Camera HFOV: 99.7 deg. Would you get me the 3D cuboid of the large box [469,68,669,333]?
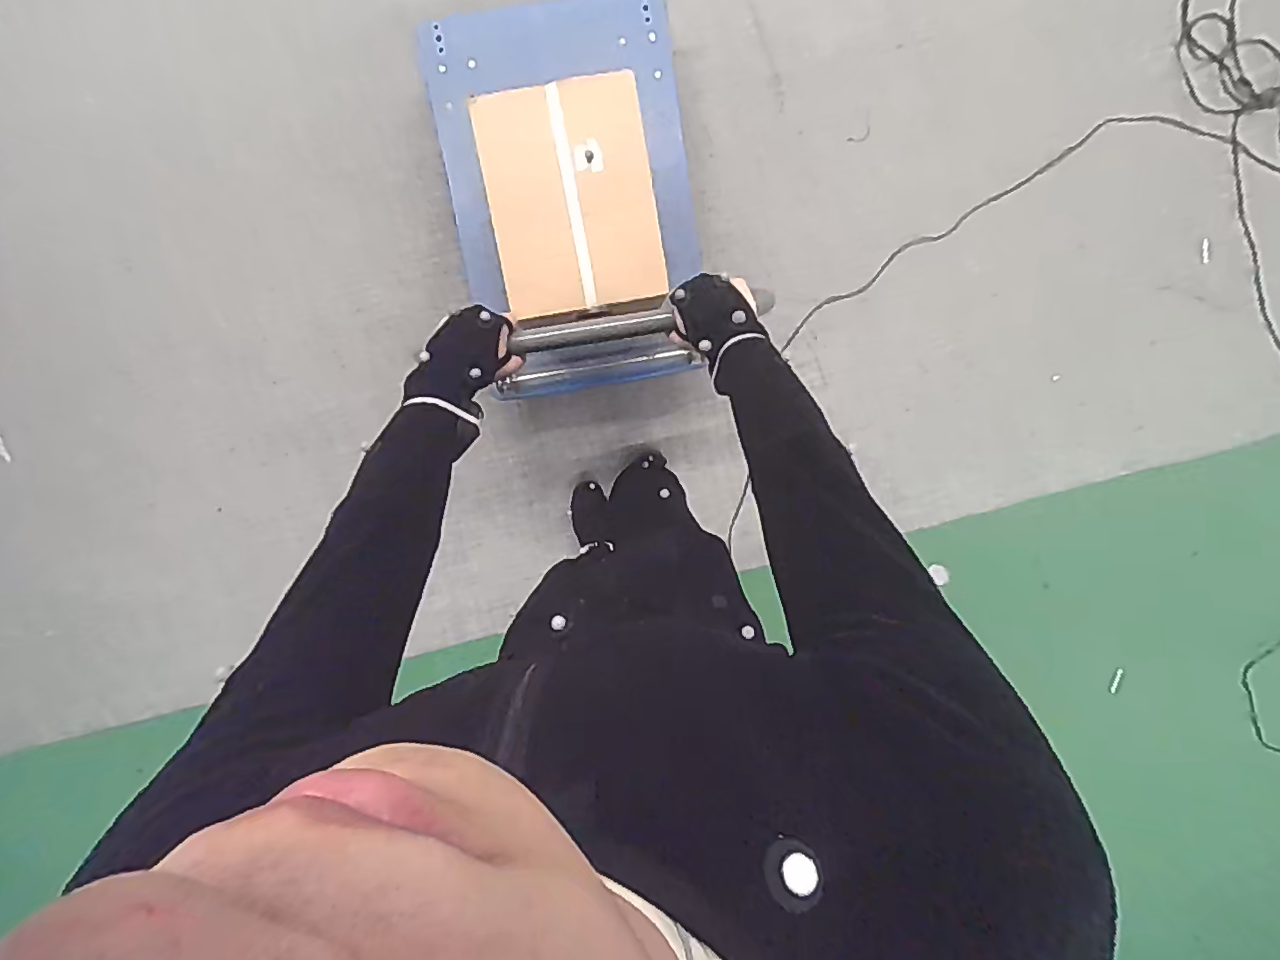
[{"bbox_3d":[-0.133,-0.563,1.174,0.320,0.320,0.408,-11,99,-1],"label":"large box"}]
